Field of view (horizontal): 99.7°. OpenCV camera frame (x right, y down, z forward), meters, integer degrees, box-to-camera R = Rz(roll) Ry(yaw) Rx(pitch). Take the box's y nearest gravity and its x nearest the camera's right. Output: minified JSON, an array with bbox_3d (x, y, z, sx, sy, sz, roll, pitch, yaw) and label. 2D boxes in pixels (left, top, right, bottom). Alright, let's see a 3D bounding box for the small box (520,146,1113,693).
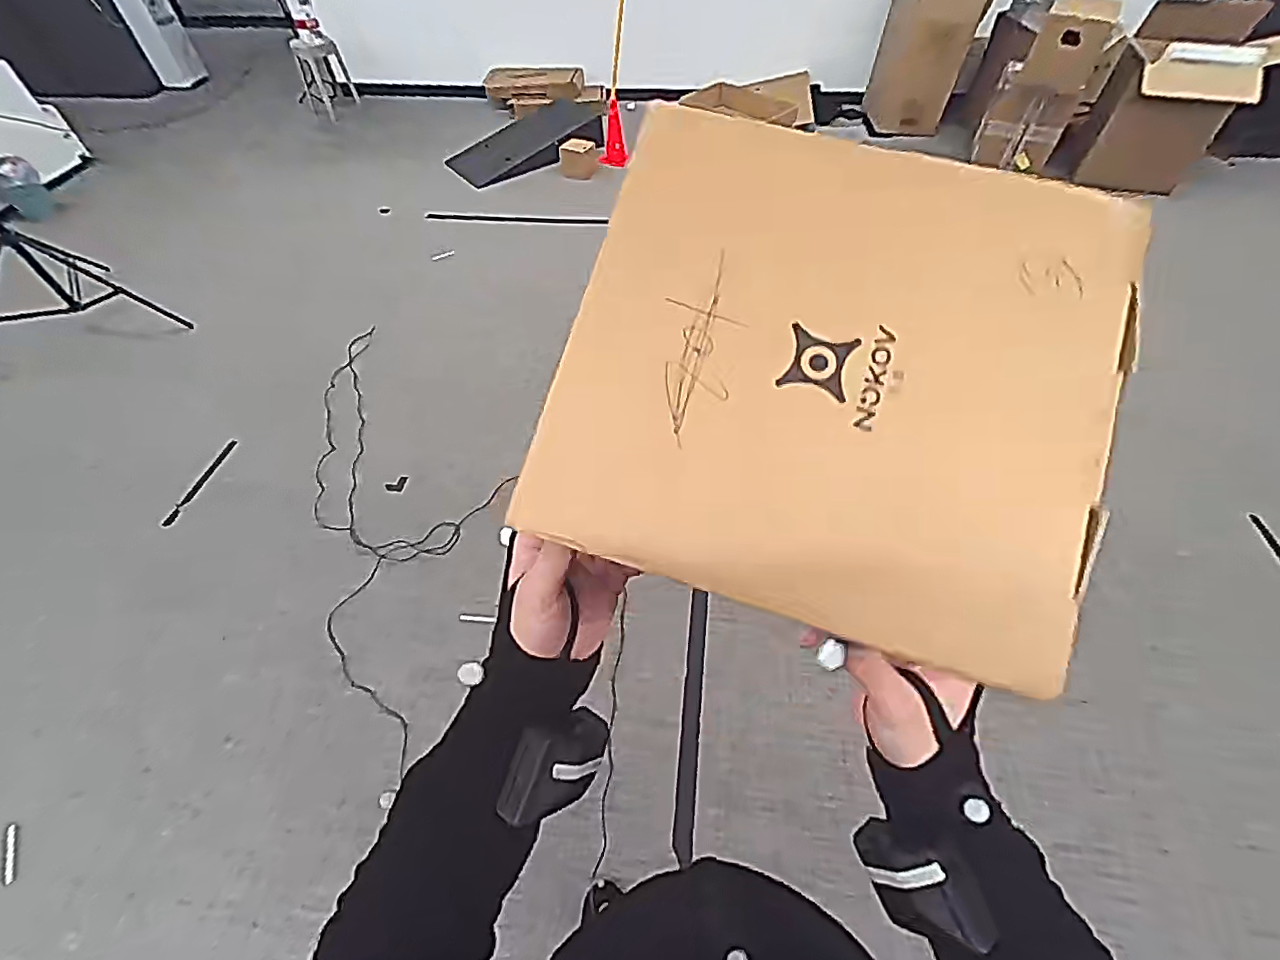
[{"bbox_3d":[0.069,-0.017,0.267,0.179,0.176,0.168,15,80,8],"label":"small box"}]
